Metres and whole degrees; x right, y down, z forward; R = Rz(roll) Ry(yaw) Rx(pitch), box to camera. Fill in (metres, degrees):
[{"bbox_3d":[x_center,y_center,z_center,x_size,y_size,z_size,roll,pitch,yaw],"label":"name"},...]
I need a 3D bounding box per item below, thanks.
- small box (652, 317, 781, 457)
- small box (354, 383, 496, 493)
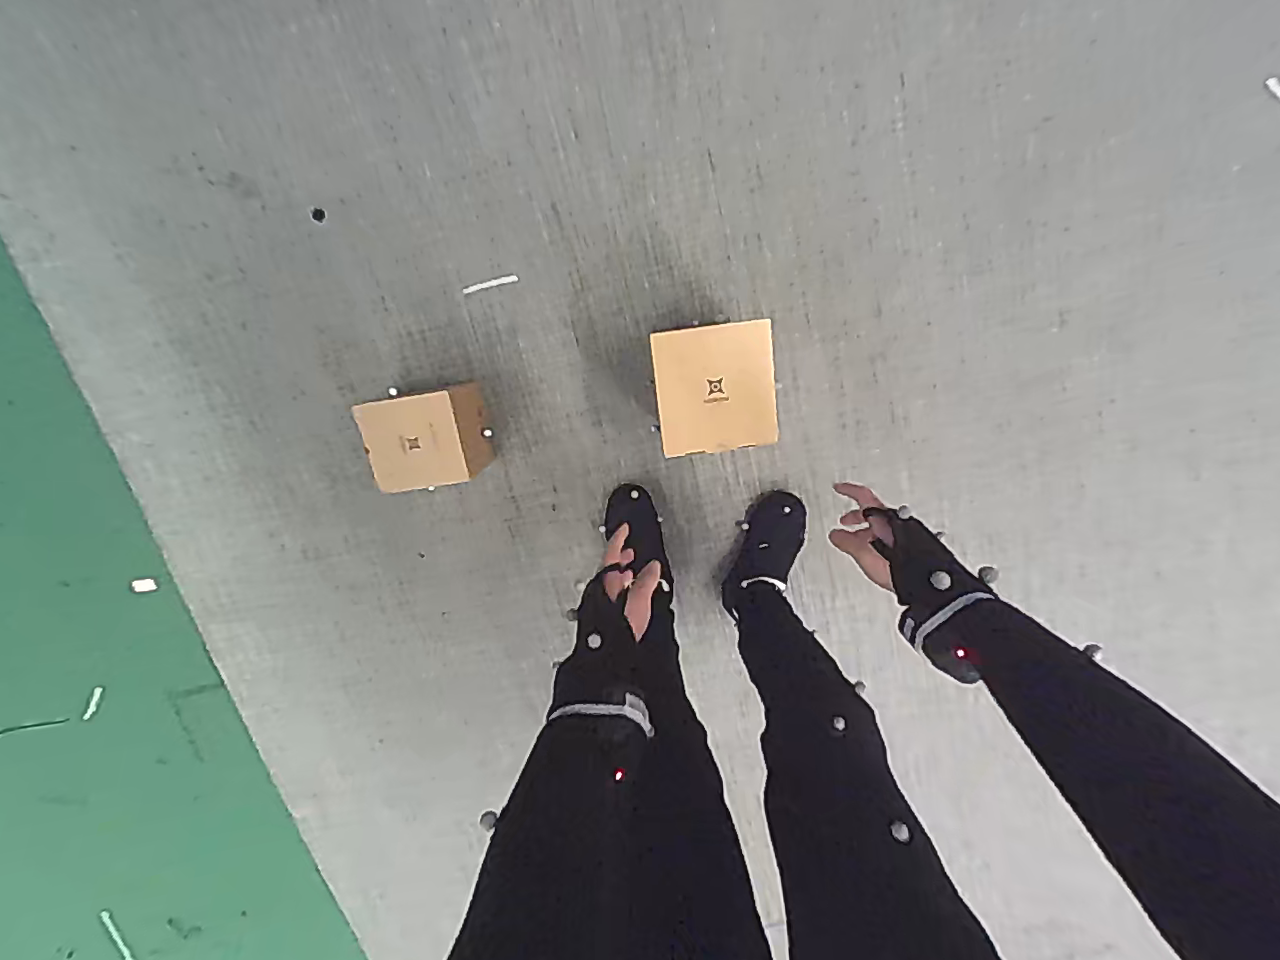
[{"bbox_3d":[0.109,-0.145,0.819,0.168,0.176,0.179,-7,106,3],"label":"small box"},{"bbox_3d":[-0.393,-0.084,1.018,0.179,0.176,0.168,-8,106,3],"label":"small box"}]
